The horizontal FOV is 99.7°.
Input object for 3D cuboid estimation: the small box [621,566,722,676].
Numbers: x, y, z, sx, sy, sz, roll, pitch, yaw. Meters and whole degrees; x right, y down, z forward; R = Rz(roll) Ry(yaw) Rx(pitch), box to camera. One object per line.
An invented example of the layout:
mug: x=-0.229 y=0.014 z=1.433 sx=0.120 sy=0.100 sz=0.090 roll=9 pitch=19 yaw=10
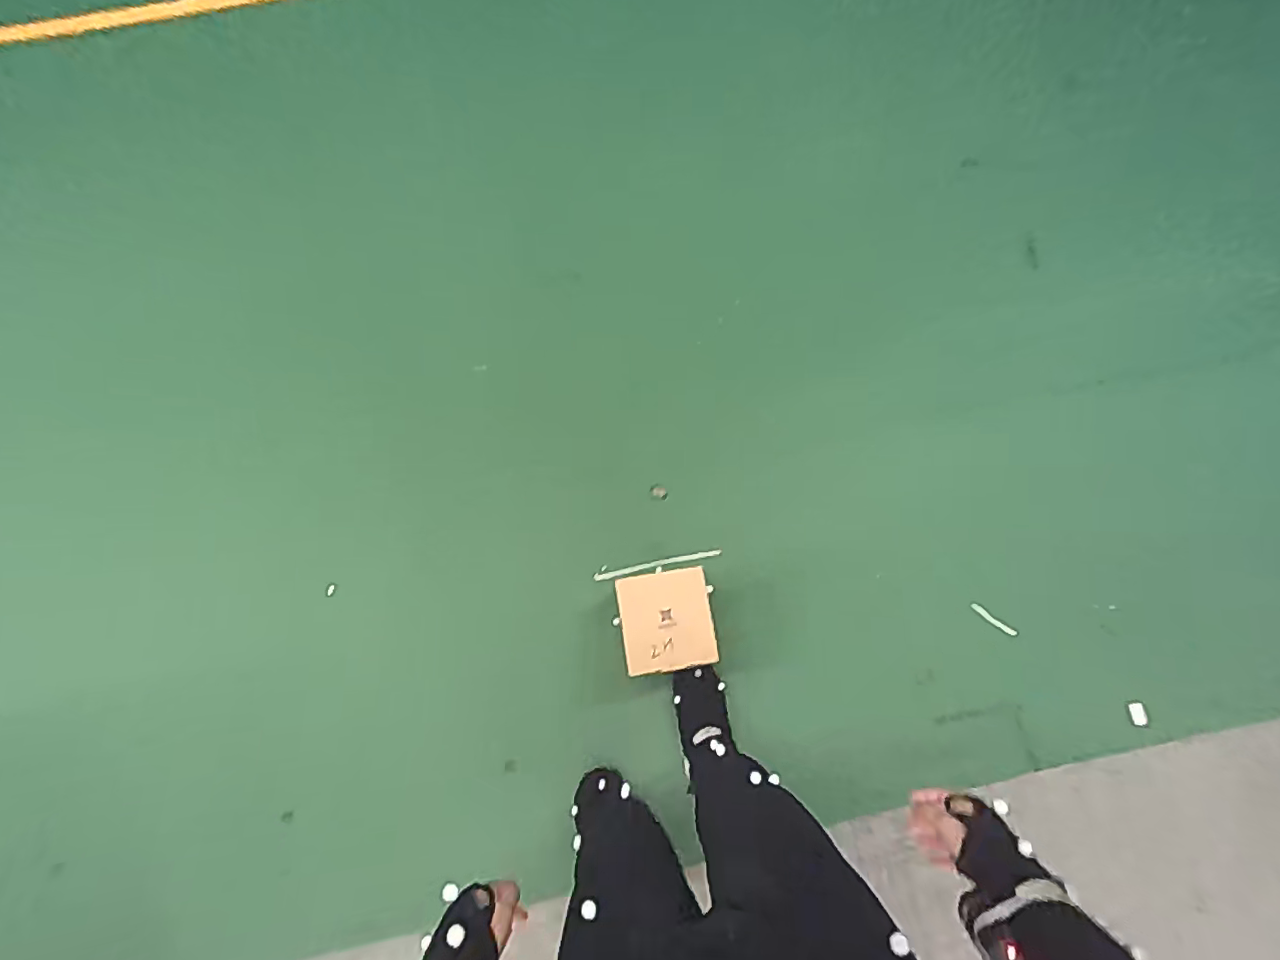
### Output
small box: x=0.056 y=0.275 z=1.066 sx=0.168 sy=0.176 sz=0.179 roll=-10 pitch=77 yaw=-1
